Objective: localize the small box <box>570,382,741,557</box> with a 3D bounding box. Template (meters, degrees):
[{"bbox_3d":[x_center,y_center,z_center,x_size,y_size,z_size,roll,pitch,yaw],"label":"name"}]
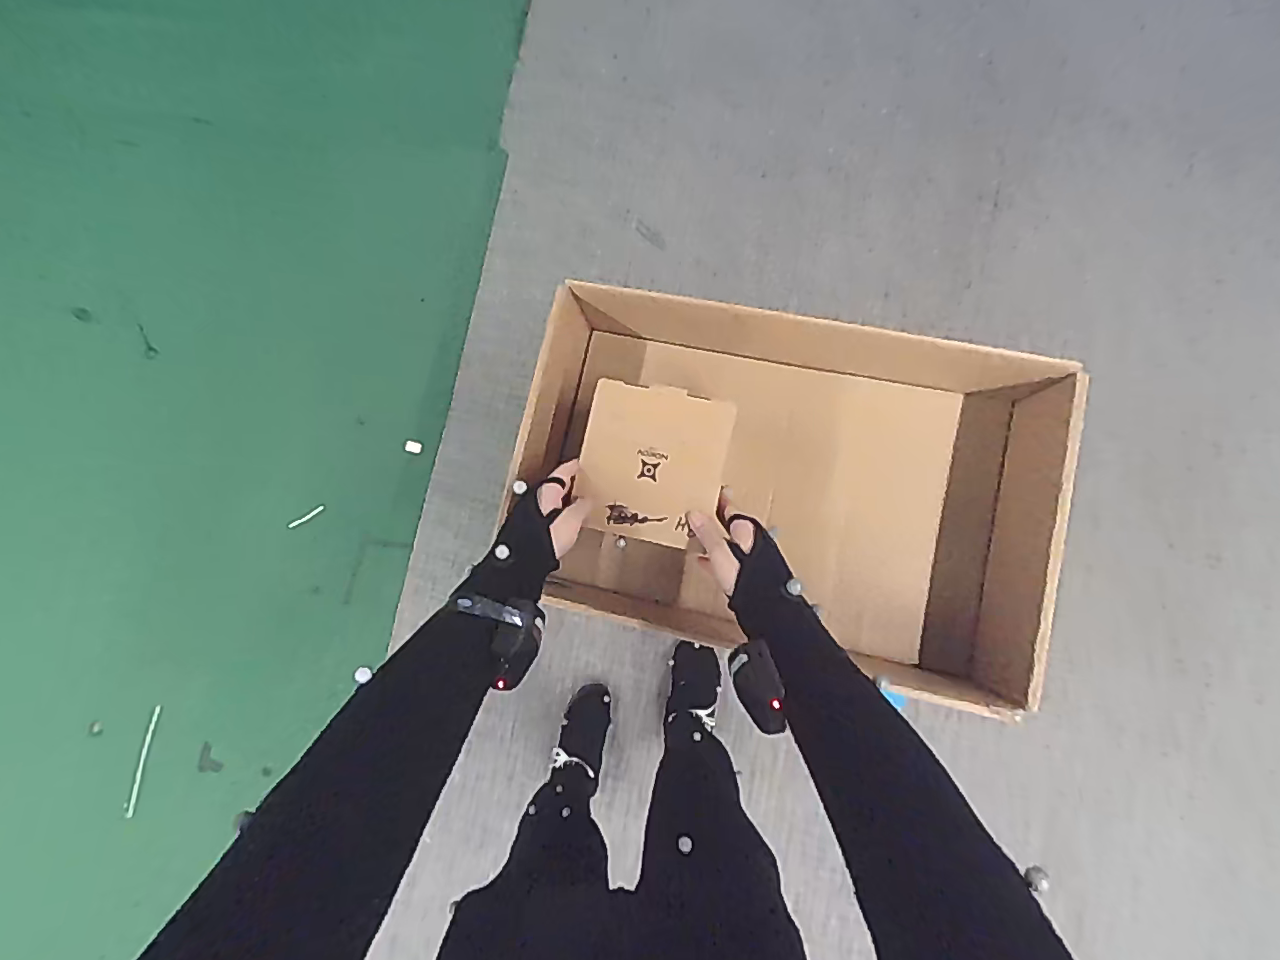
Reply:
[{"bbox_3d":[0.027,-0.004,0.689,0.168,0.176,0.179,12,83,9],"label":"small box"}]
